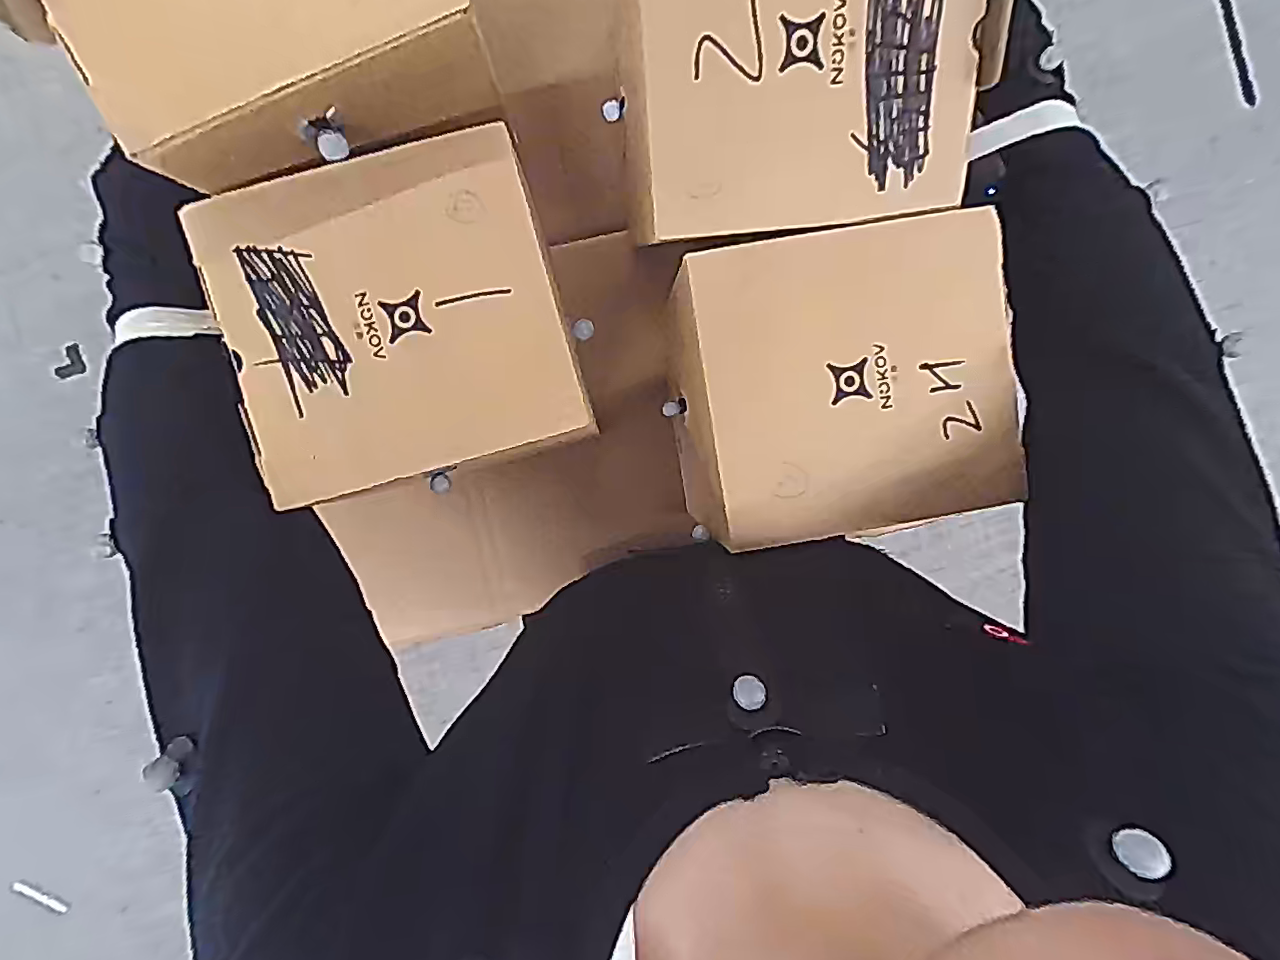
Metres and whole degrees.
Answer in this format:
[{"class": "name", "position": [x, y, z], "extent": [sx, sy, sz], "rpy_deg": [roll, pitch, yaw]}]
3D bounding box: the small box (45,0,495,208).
[{"class": "small box", "position": [-0.197, -0.286, 0.306], "extent": [0.179, 0.176, 0.168], "rpy_deg": [-23, 103, 1]}]
